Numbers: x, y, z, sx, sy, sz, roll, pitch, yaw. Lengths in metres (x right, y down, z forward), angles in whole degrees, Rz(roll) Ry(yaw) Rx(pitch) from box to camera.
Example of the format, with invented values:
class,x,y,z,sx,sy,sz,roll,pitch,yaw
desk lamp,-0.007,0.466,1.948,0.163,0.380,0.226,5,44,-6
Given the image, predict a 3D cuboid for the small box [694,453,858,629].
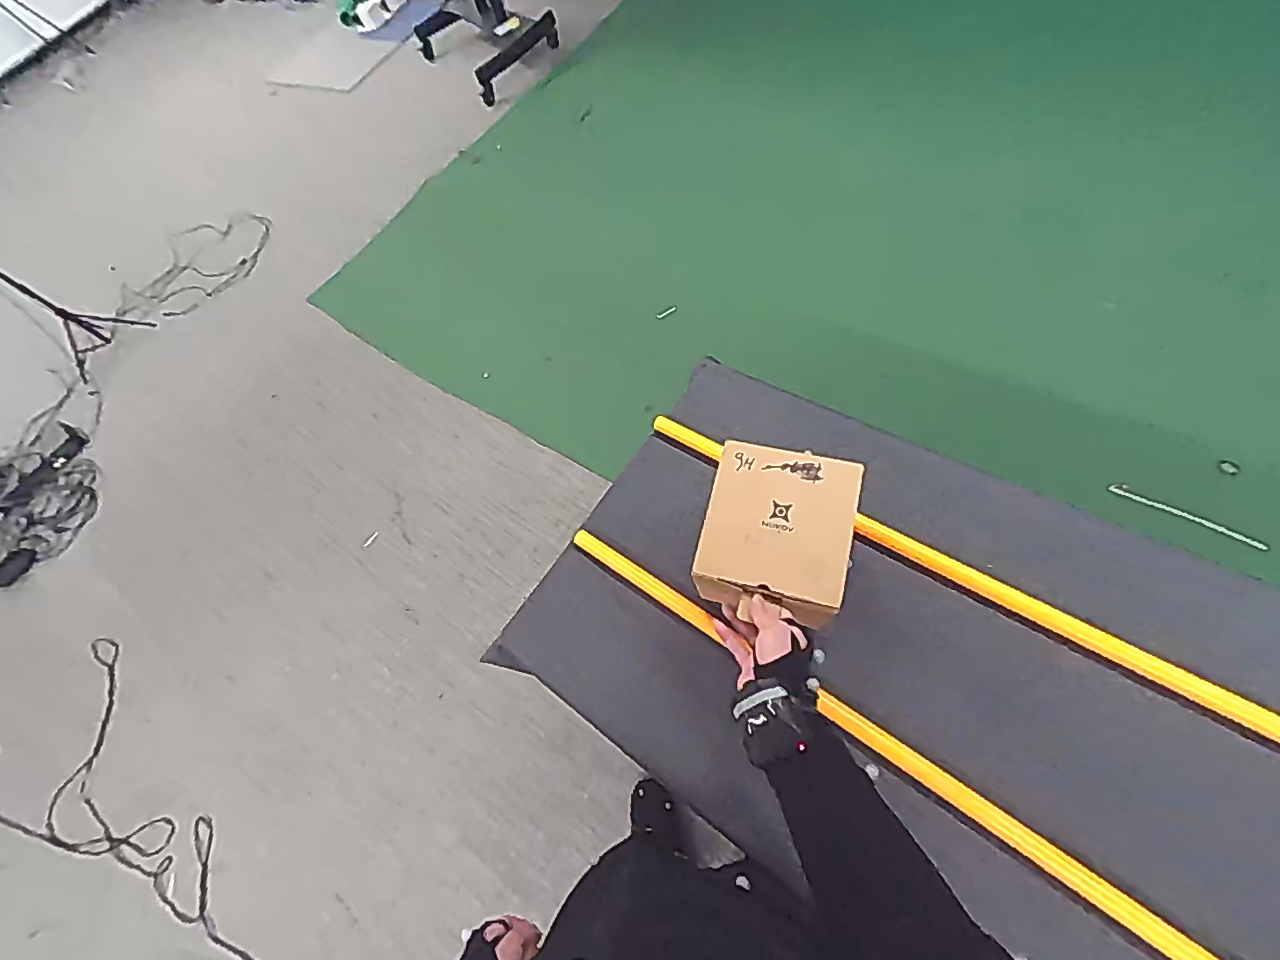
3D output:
class,x,y,z,sx,sy,sz,roll,pitch,yaw
small box,0.175,0.086,0.699,0.168,0.176,0.179,9,70,15
